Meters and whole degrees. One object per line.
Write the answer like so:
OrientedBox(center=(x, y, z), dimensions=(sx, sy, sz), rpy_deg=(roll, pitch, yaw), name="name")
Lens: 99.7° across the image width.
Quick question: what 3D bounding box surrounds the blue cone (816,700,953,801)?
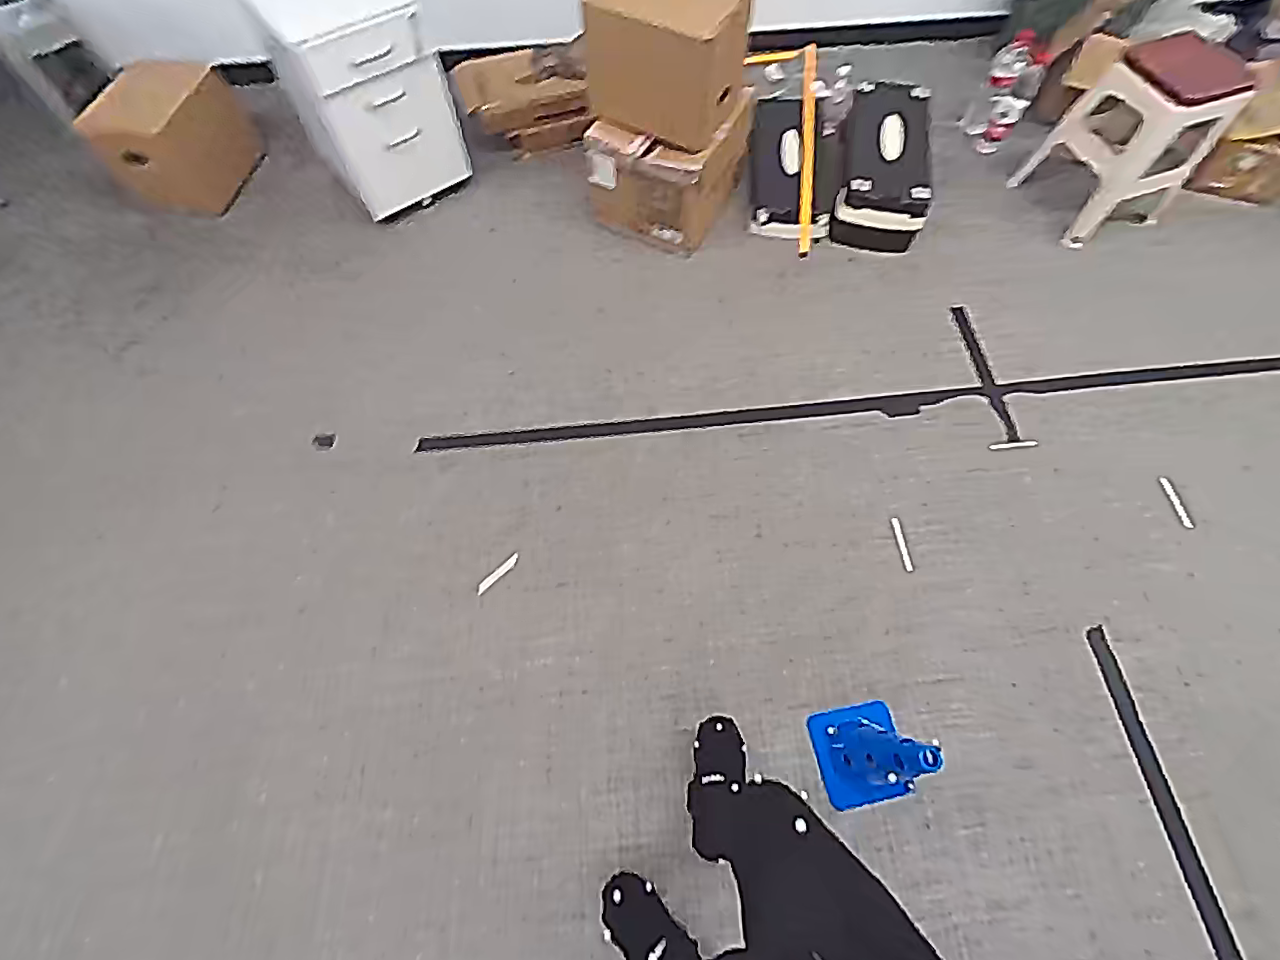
OrientedBox(center=(0.510, 0.547, 1.091), dimensions=(0.192, 0.380, 0.193), rpy_deg=(-9, 64, -4), name="blue cone")
